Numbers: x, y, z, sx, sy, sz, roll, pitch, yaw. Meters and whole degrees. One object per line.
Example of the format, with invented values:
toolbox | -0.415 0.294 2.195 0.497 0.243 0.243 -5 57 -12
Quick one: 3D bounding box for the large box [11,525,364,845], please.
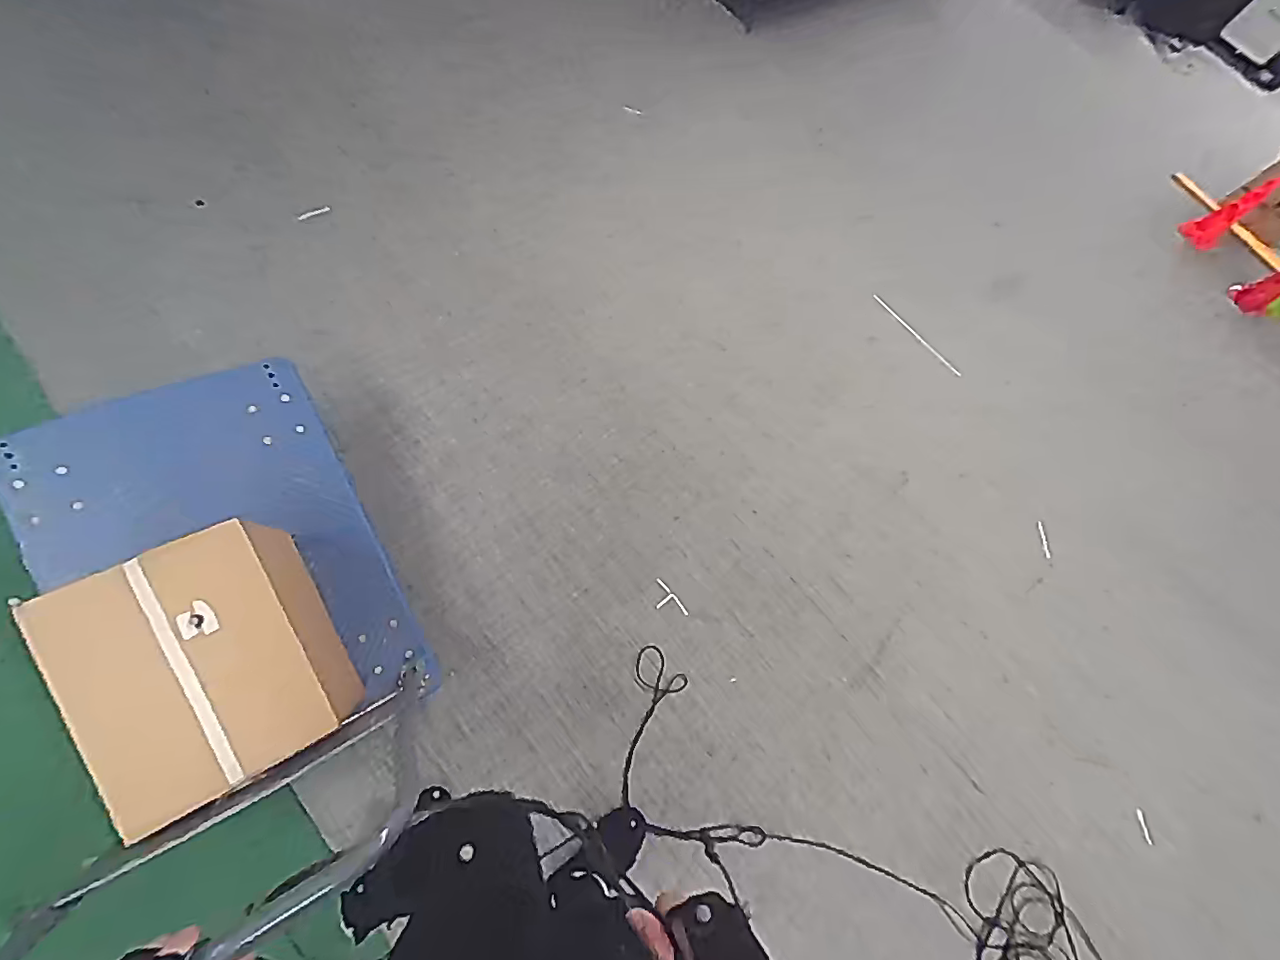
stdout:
large box | -0.776 0.341 1.004 0.320 0.320 0.408 -27 89 -23
